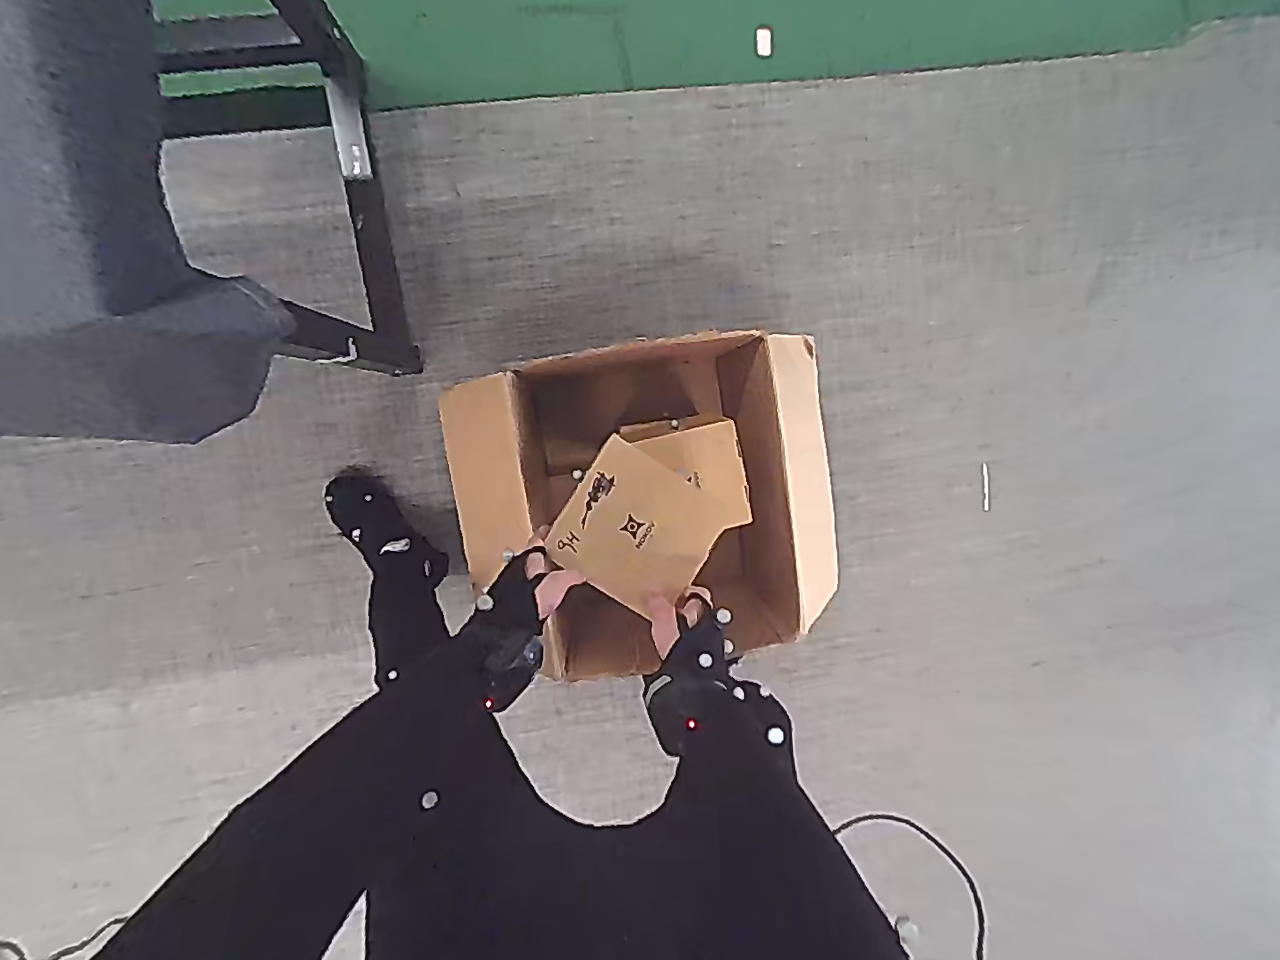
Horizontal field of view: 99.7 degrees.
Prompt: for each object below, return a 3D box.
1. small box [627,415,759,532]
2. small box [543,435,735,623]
[{"bbox_3d":[0.074,-0.007,0.881,0.179,0.176,0.168,-13,100,-2],"label":"small box"},{"bbox_3d":[-0.007,0.057,0.717,0.179,0.176,0.168,33,86,-5],"label":"small box"}]
